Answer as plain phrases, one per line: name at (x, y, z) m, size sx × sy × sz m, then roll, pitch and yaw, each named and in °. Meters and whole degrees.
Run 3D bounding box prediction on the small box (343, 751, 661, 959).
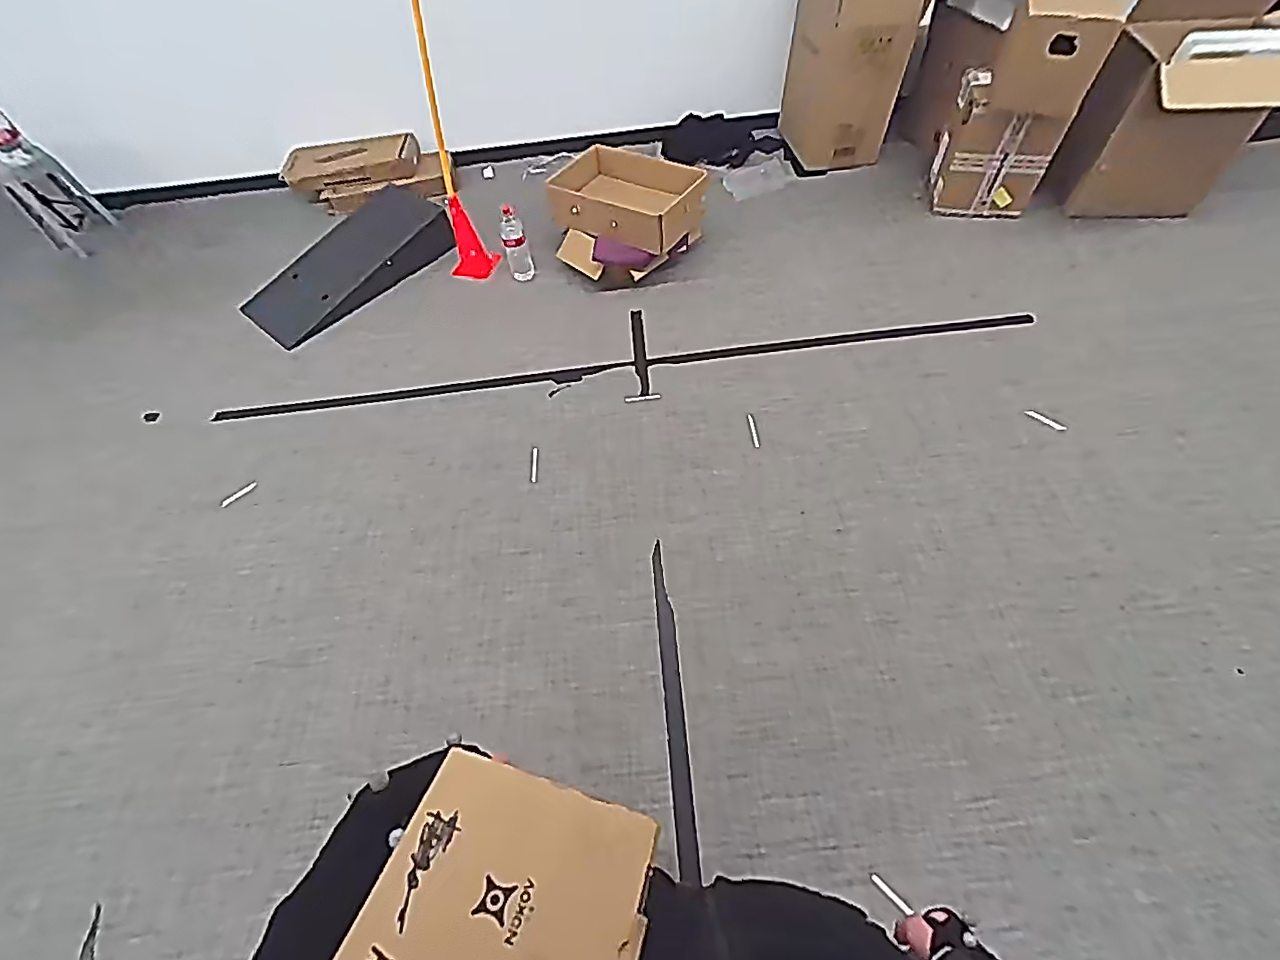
small box at (-0.099, 0.350, 0.414) m, size 0.179 × 0.176 × 0.168 m, roll 16°, pitch 38°, yaw 6°
